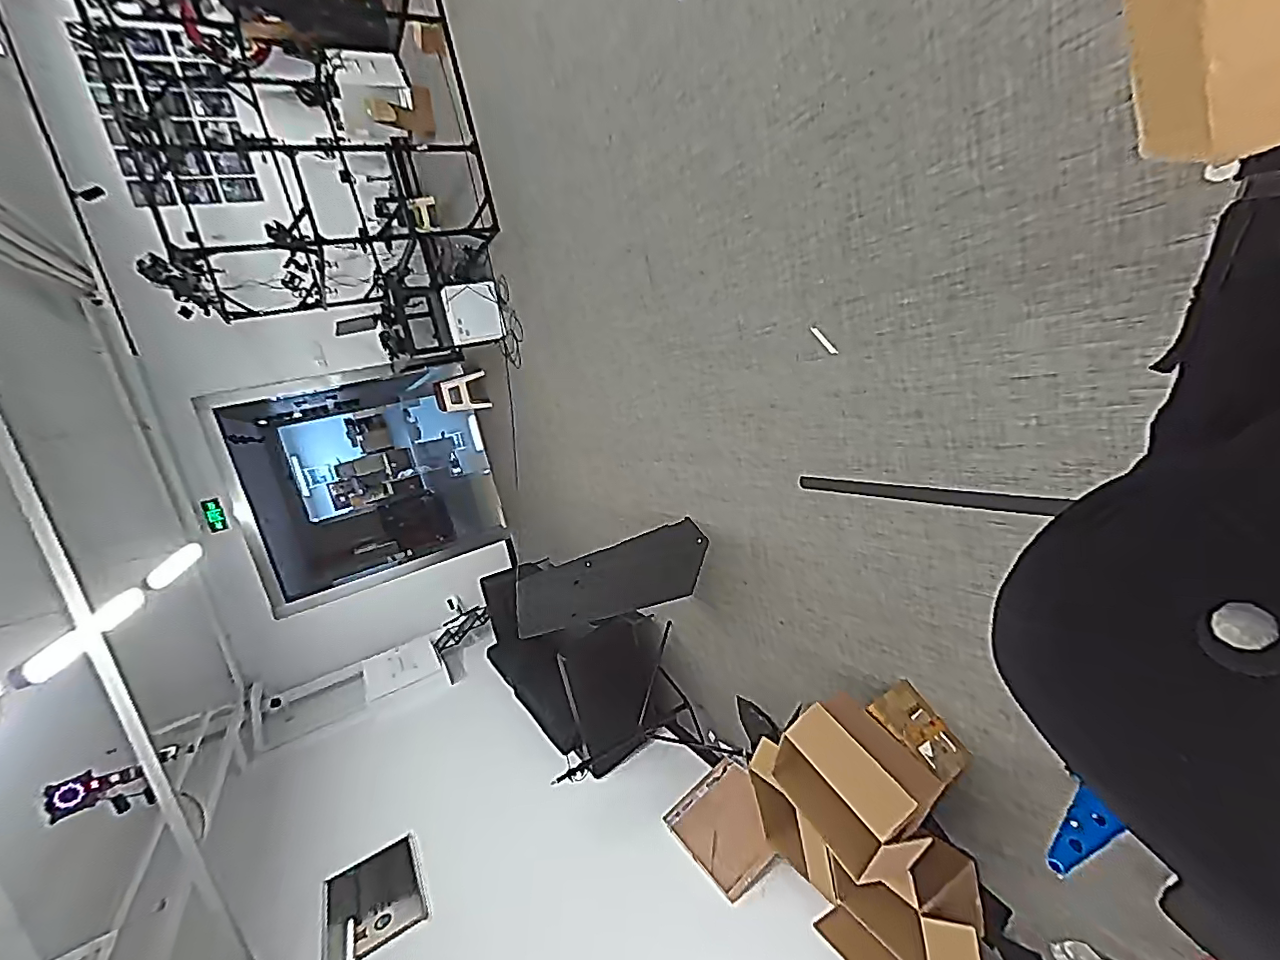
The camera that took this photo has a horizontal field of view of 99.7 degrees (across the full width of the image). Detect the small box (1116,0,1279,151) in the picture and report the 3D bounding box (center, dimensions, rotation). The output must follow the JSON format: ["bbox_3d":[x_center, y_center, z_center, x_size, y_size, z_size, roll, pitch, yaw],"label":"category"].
[{"bbox_3d":[0.279,-0.241,0.186,0.168,0.176,0.179,-10,110,40],"label":"small box"}]
